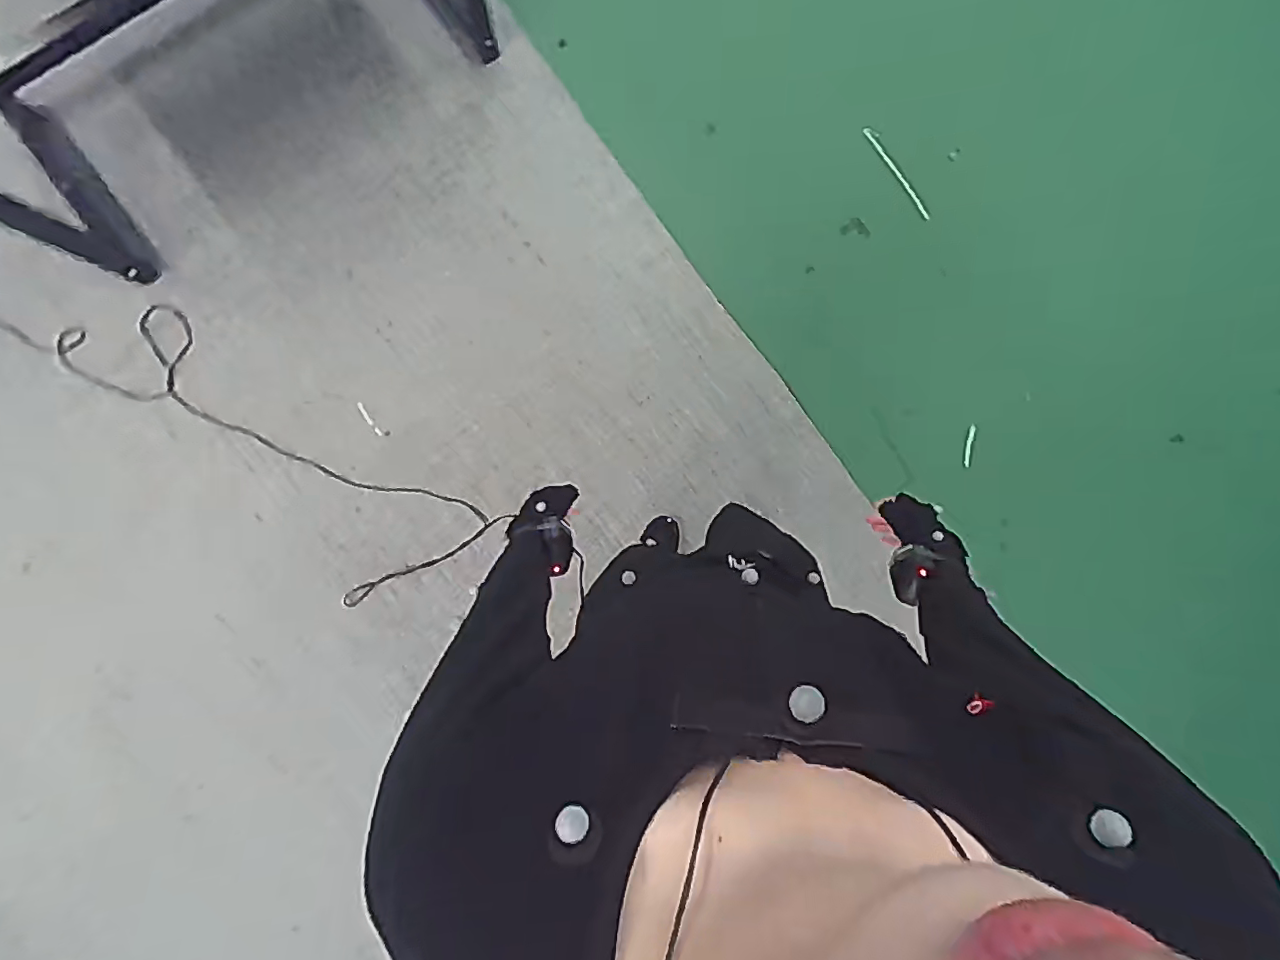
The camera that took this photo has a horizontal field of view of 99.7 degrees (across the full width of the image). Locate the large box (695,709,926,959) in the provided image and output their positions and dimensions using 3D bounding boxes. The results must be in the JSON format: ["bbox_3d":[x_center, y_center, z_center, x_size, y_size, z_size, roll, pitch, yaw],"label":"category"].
[{"bbox_3d":[0.406,0.877,1.379,0.408,0.320,0.320,-35,91,-5],"label":"large box"}]
